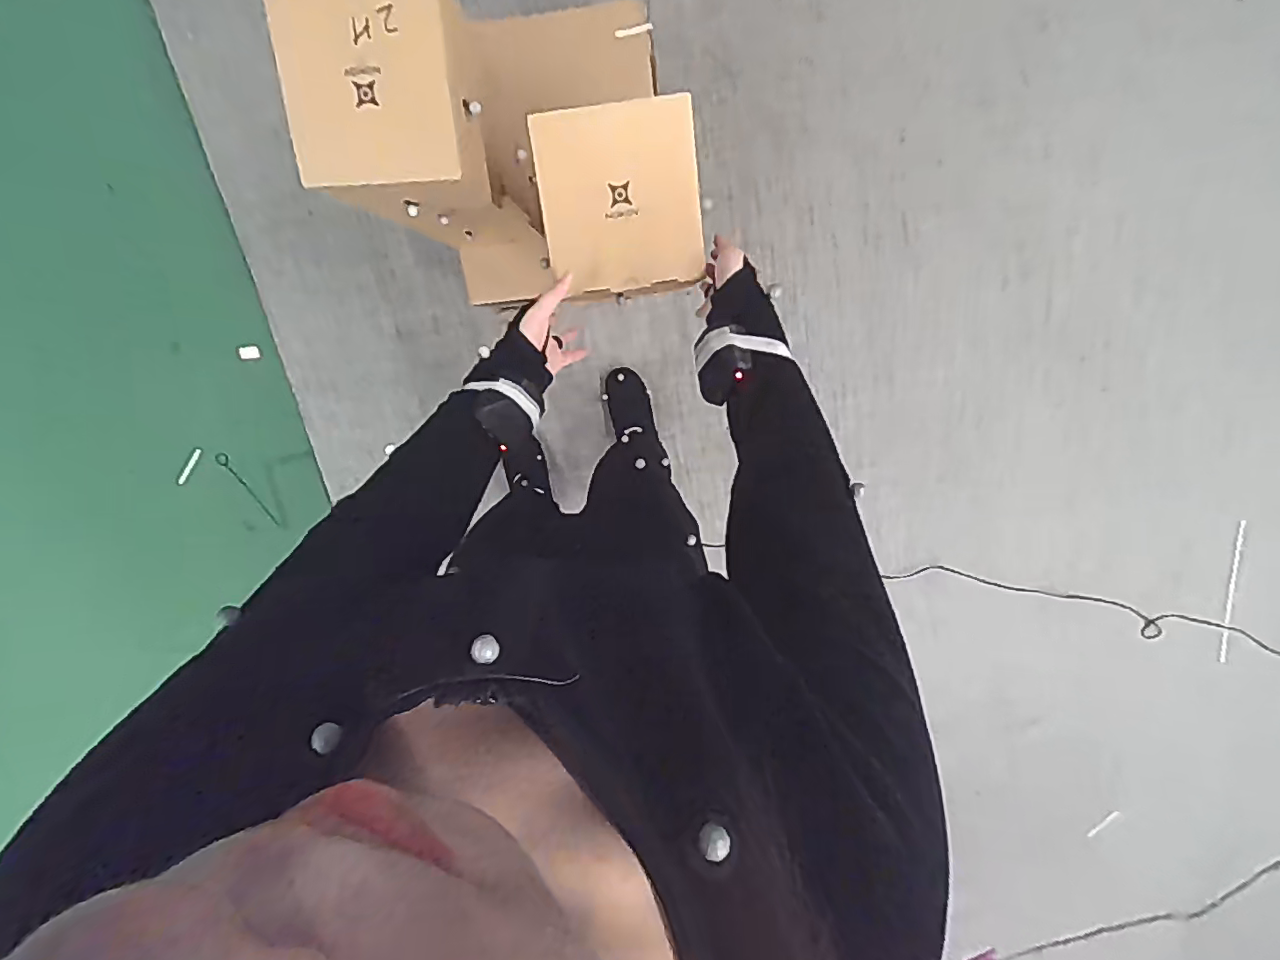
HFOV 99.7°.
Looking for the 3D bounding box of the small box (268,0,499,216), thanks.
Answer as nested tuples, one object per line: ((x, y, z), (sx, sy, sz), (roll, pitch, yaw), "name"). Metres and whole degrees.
((-0.262, -0.400, 0.600), (0.168, 0.176, 0.179), (-2, 106, 0), "small box")

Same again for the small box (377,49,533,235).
((-0.265, -0.452, 0.754), (0.179, 0.176, 0.168), (-8, 106, 4), "small box")

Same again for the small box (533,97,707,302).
((-0.021, -0.309, 0.633), (0.168, 0.176, 0.179), (-7, 108, 0), "small box")

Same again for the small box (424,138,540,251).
((-0.275, -0.501, 0.914), (0.168, 0.176, 0.179), (-7, 105, 2), "small box")
